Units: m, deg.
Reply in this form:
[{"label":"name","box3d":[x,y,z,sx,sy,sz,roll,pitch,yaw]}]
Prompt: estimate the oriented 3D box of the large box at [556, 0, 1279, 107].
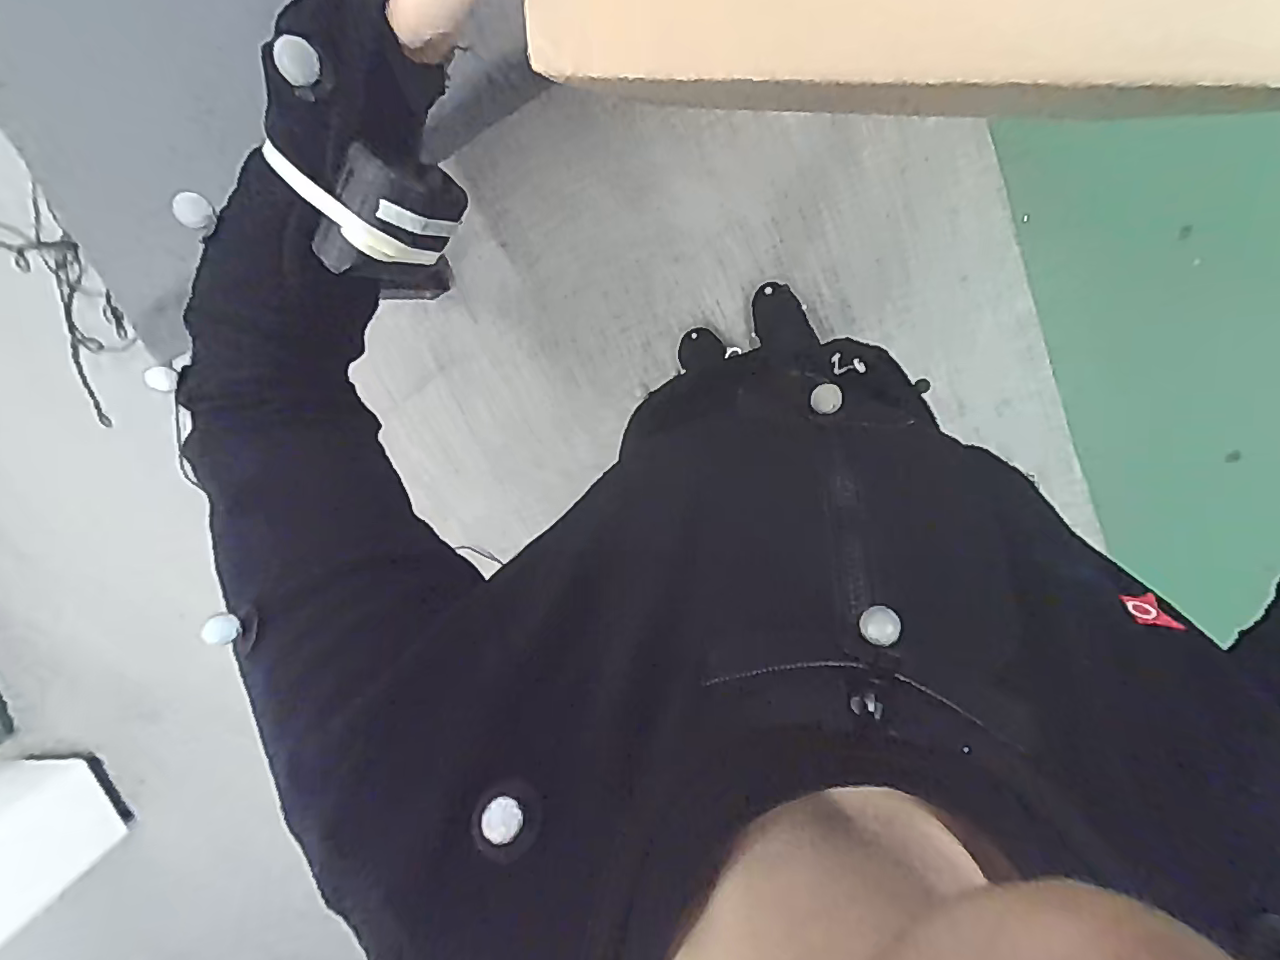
[{"label":"large box","box3d":[0.182,-0.376,0.256,0.408,0.320,0.320,6,123,7]}]
